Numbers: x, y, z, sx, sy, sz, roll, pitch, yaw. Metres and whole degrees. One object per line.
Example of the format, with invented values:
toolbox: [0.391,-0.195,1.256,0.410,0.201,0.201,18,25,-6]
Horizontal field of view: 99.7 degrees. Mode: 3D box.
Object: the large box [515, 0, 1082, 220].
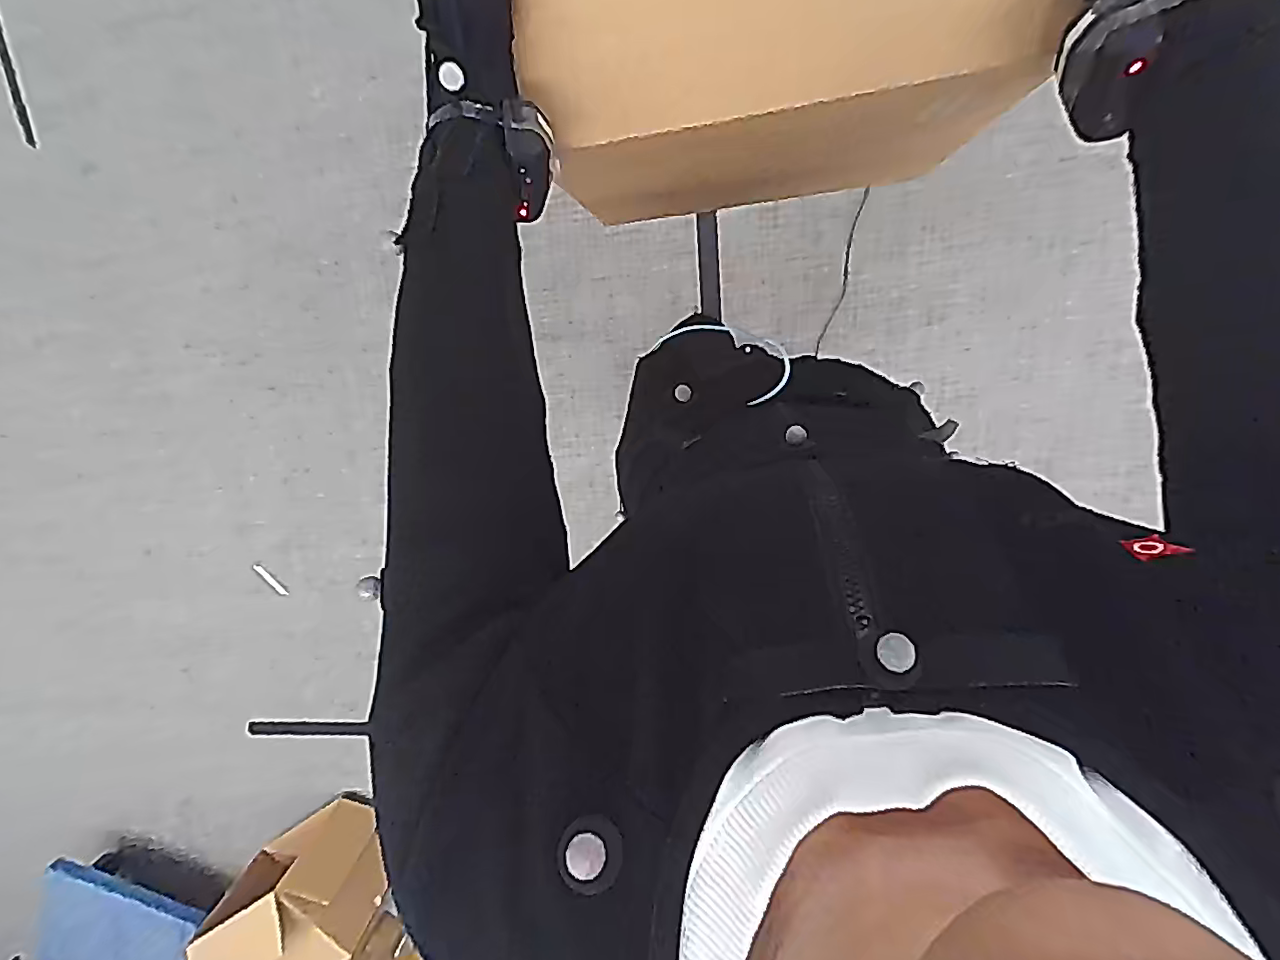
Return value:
large box: [0.109,-0.473,0.514,0.408,0.320,0.320,-5,105,9]
